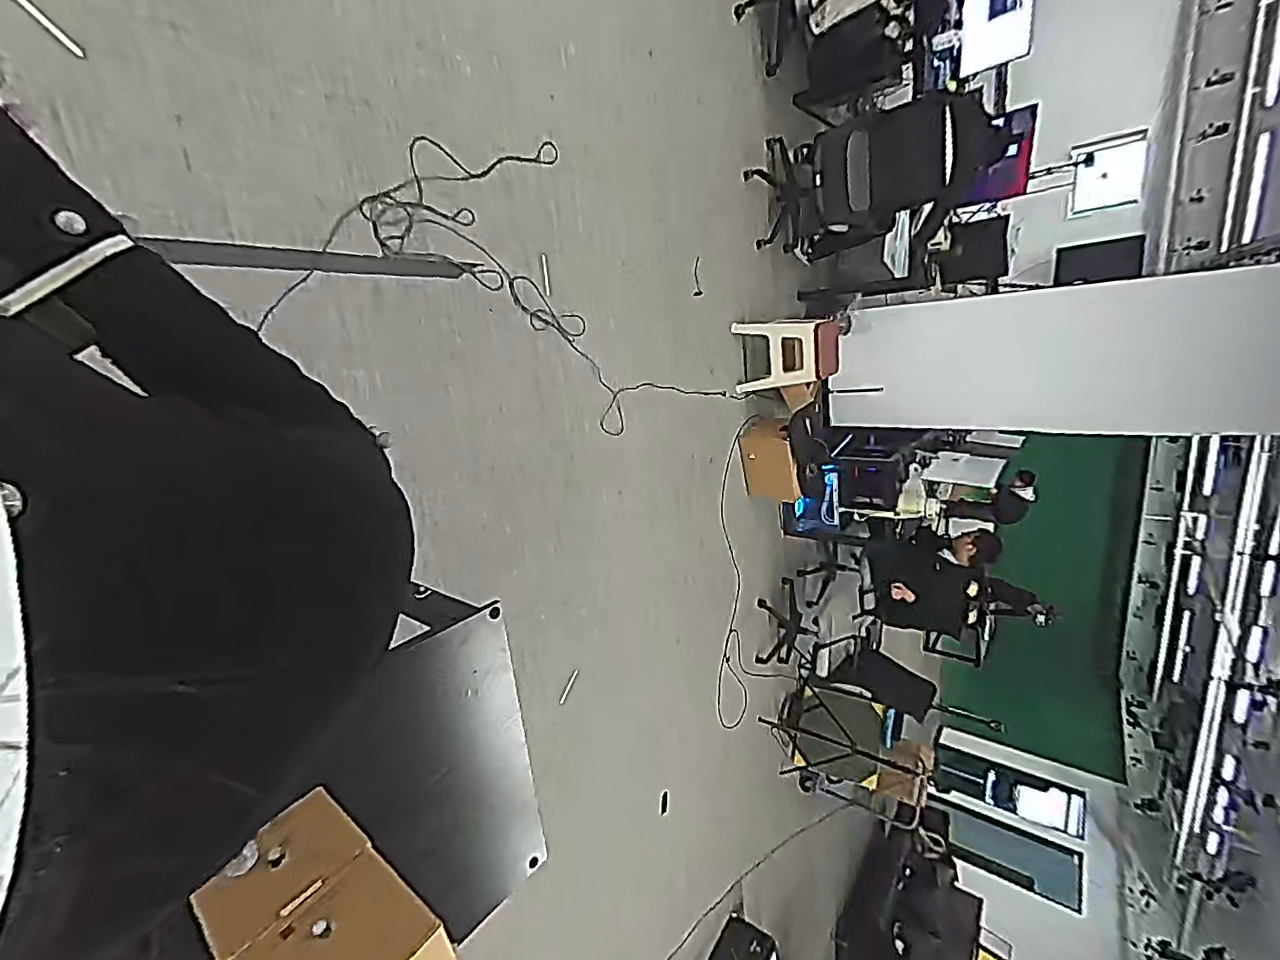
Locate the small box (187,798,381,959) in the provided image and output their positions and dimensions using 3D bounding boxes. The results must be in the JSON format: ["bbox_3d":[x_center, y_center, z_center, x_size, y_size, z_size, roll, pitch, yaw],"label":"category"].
[{"bbox_3d":[-0.441,0.550,0.697,0.168,0.176,0.179,-28,115,-46],"label":"small box"}]

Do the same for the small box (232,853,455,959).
[{"bbox_3d":[-0.312,0.567,0.593,0.168,0.176,0.179,-30,117,-46],"label":"small box"}]
